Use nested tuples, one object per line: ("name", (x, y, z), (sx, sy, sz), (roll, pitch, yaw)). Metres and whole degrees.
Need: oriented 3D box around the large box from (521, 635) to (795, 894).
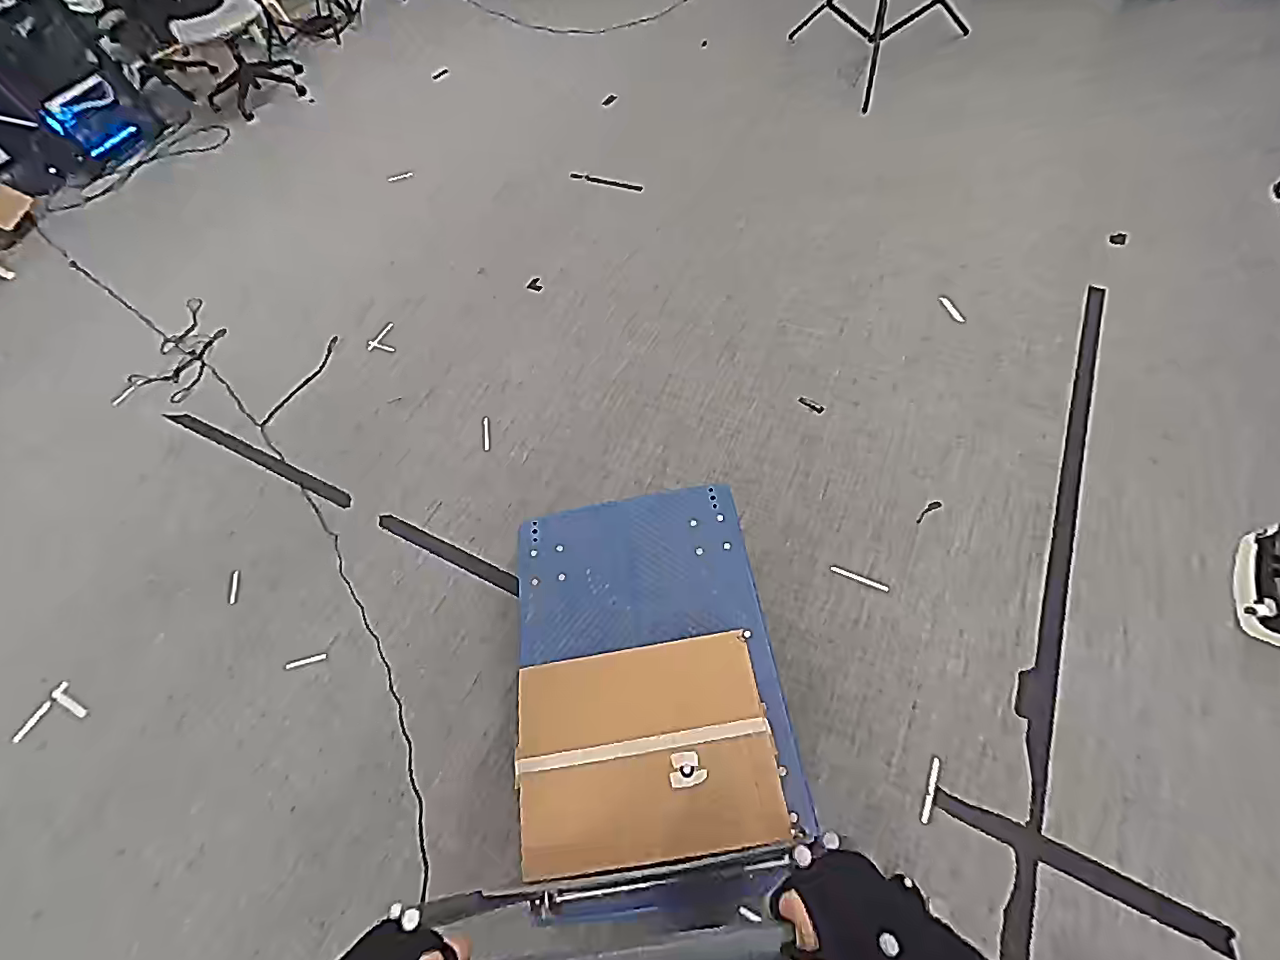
("large box", (0.026, 0.514, 0.984), (0.408, 0.320, 0.320), (-11, 57, 1))
